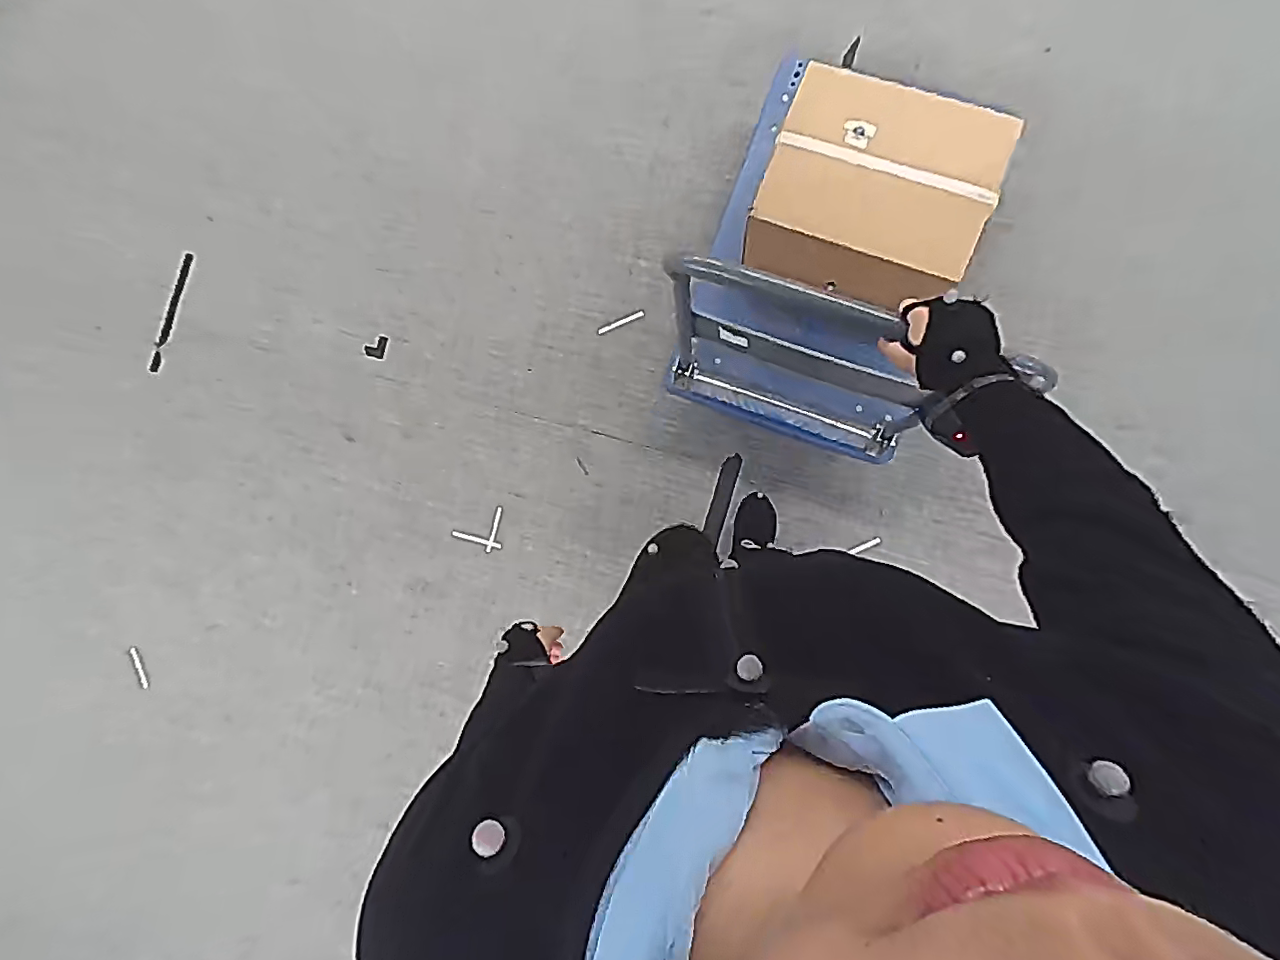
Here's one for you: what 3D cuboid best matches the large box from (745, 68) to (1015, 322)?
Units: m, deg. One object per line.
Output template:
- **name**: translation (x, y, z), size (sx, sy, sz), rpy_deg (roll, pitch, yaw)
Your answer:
- **large box**: translation (0.471, -0.579, 1.158), size (0.408, 0.320, 0.320), rpy_deg (21, 91, 9)
